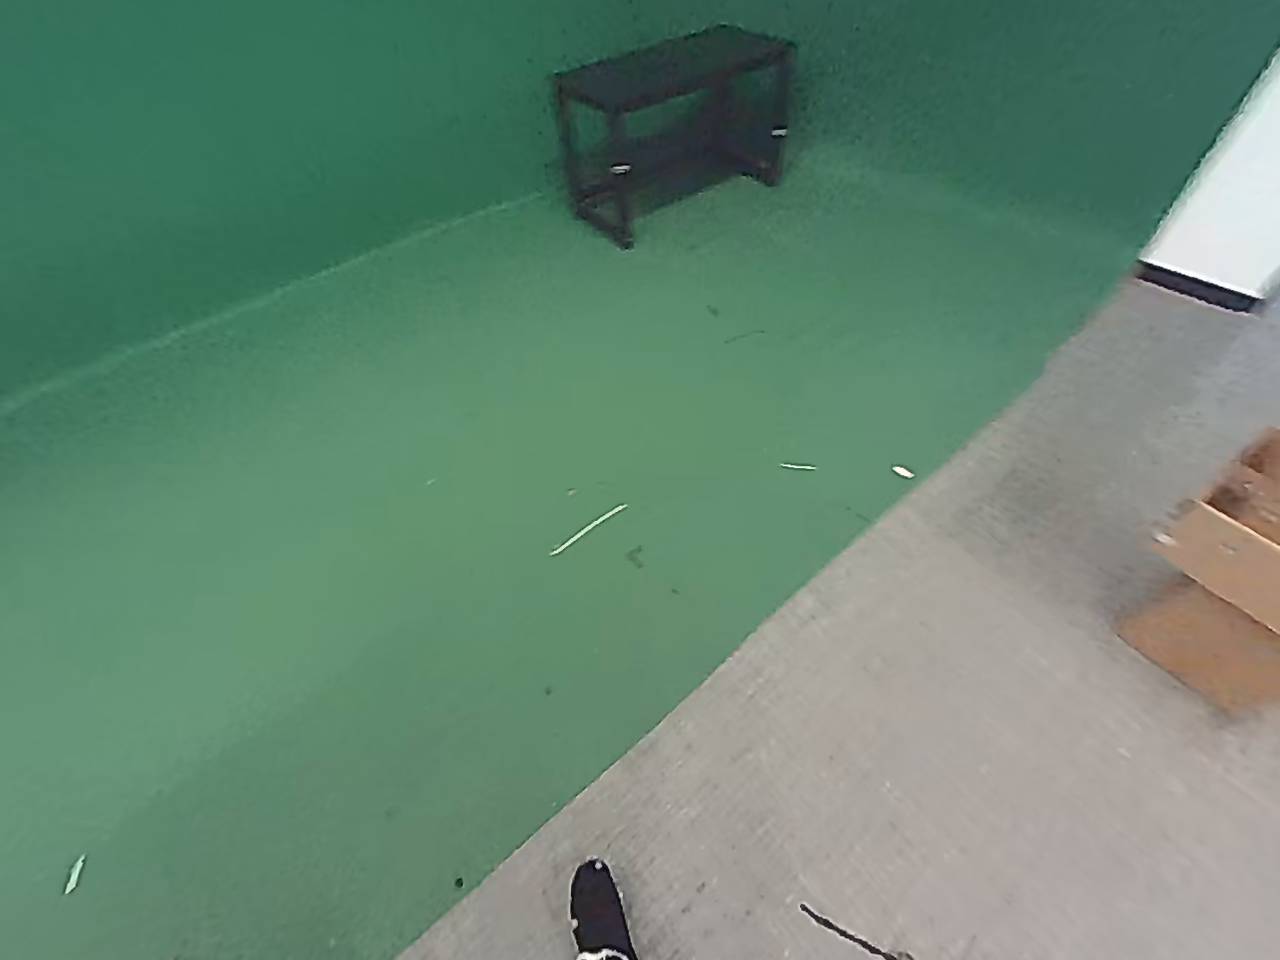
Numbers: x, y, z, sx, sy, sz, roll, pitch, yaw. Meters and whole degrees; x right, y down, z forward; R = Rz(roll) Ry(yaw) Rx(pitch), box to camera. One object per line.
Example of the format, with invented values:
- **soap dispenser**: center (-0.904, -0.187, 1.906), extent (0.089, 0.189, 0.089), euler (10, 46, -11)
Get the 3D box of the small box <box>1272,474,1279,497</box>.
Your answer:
- **small box**: center (1.471, -0.023, 1.097), extent (0.179, 0.176, 0.168), euler (-33, 56, -19)
